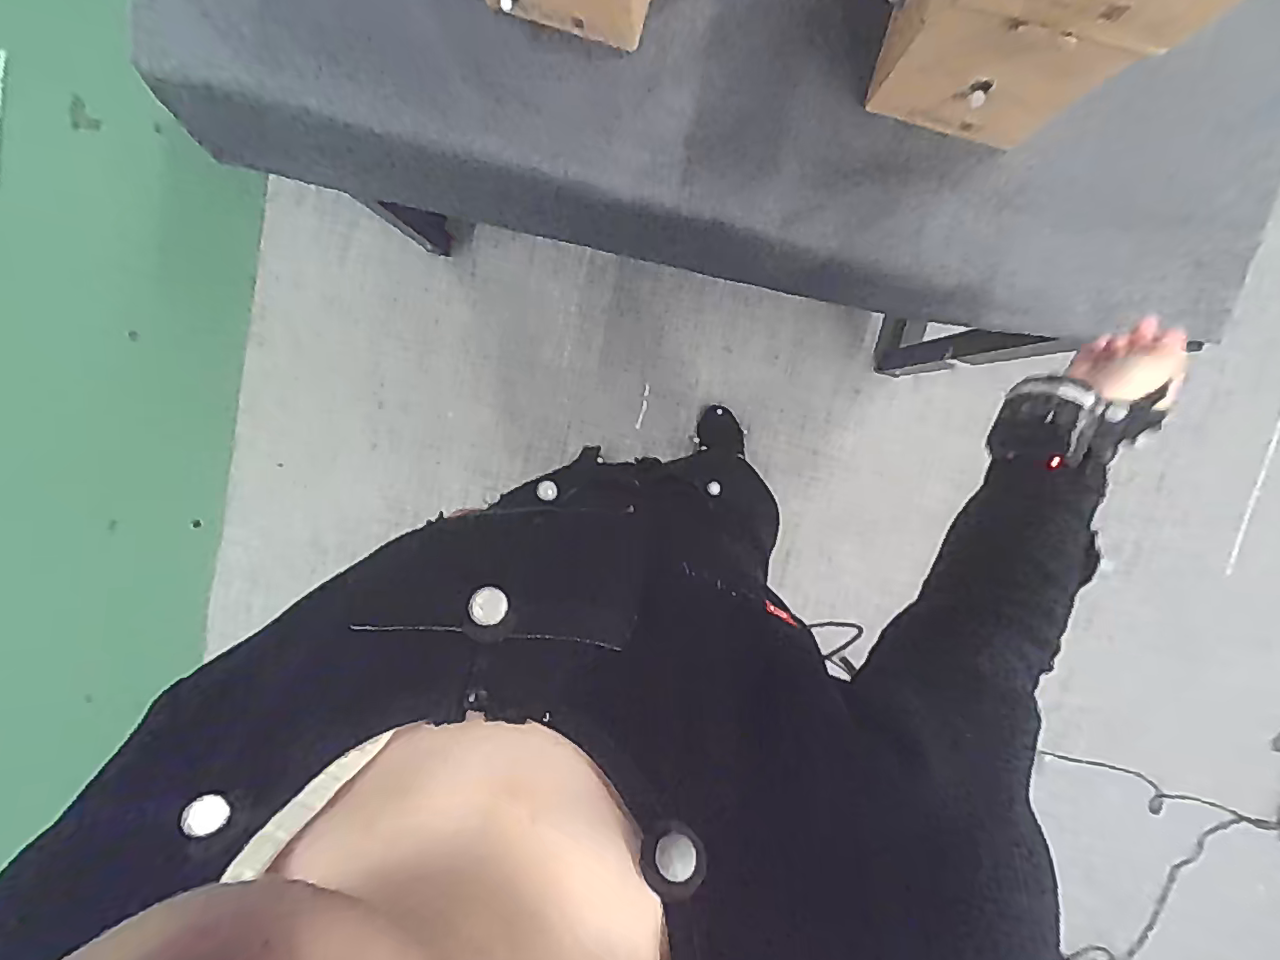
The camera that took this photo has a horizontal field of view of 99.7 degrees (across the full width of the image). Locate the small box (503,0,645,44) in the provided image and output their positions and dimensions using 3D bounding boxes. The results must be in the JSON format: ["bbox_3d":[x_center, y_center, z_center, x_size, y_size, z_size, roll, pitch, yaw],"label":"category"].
[{"bbox_3d":[-0.063,-0.547,0.481,0.168,0.176,0.179,17,96,-2],"label":"small box"}]

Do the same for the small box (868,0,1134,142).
[{"bbox_3d":[0.331,-0.446,0.488,0.168,0.176,0.179,15,97,-1],"label":"small box"}]
